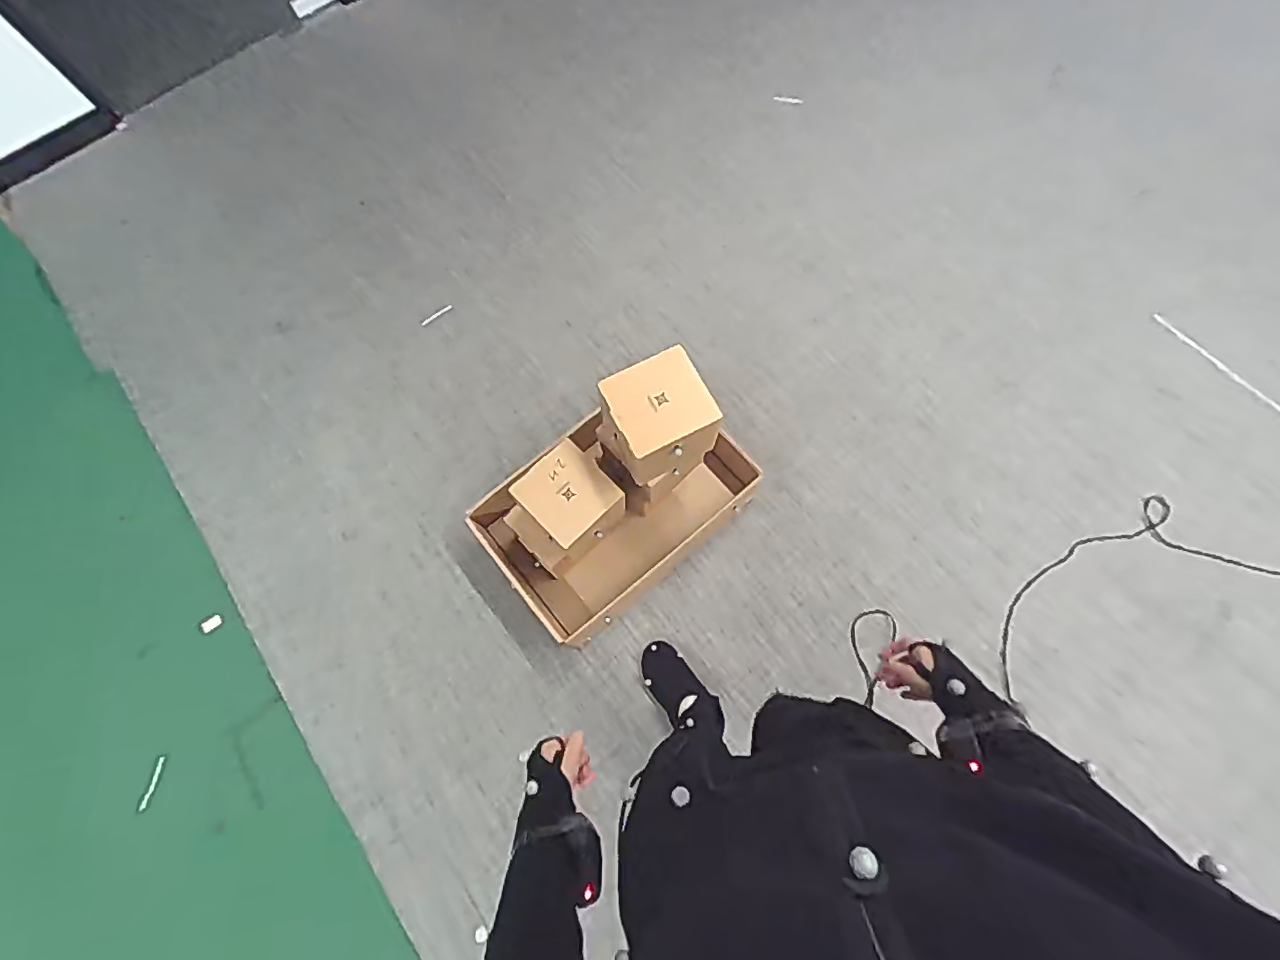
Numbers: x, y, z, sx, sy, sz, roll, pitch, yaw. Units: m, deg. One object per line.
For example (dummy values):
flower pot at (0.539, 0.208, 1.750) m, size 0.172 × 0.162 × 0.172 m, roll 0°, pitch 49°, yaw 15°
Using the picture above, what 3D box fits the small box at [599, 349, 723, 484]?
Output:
small box at (0.038, -0.115, 1.042) m, size 0.179 × 0.176 × 0.168 m, roll -28°, pitch 75°, yaw -5°

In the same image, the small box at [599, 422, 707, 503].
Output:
small box at (0.033, -0.072, 1.200) m, size 0.168 × 0.176 × 0.179 m, roll -42°, pitch 76°, yaw -8°

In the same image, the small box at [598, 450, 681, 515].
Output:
small box at (0.021, -0.036, 1.362) m, size 0.168 × 0.176 × 0.179 m, roll 40°, pitch 81°, yaw 14°

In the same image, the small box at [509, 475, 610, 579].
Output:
small box at (-0.186, 0.122, 1.321) m, size 0.179 × 0.176 × 0.168 m, roll -42°, pitch 77°, yaw -12°
